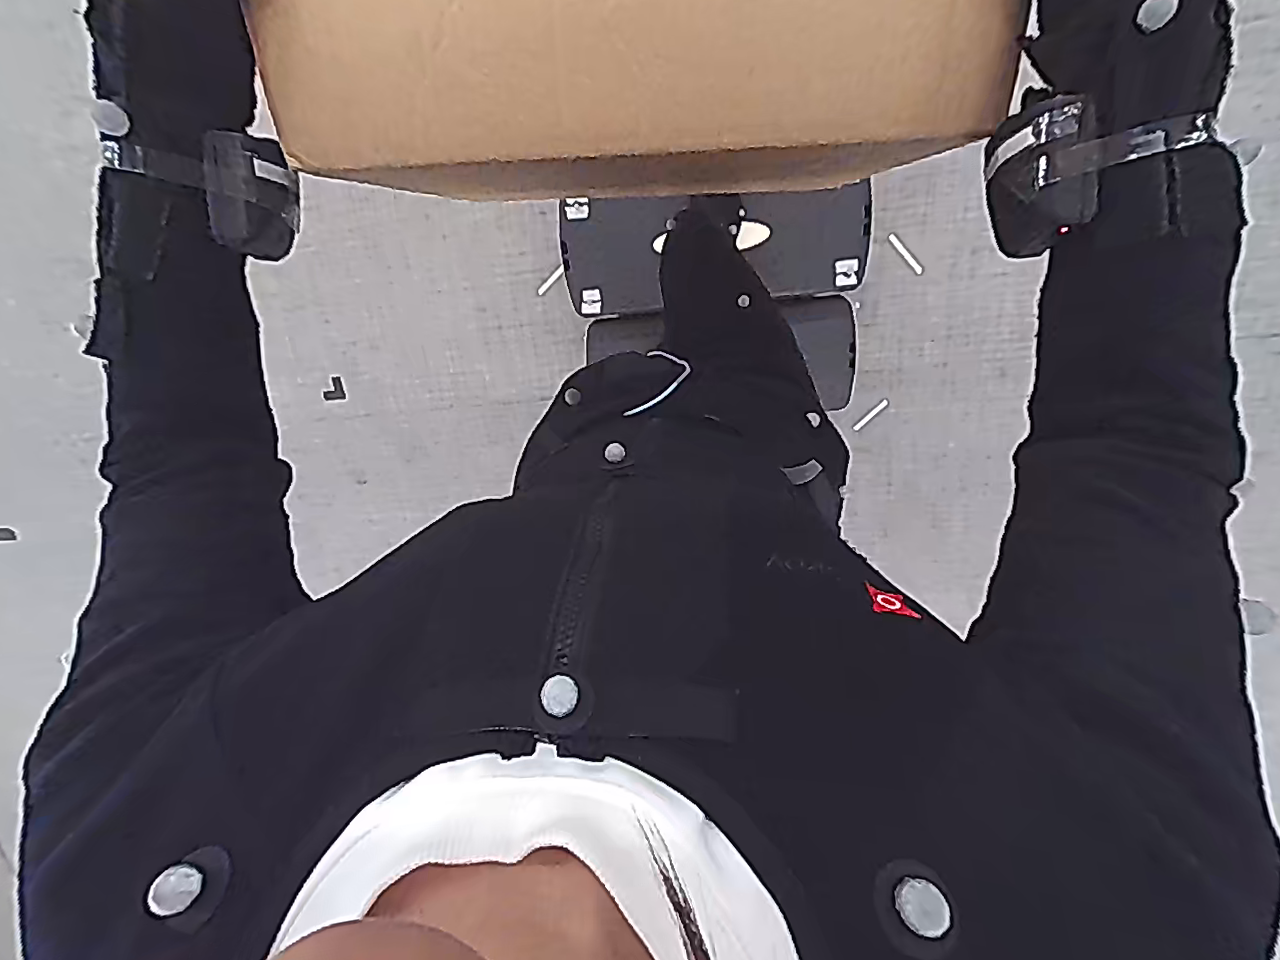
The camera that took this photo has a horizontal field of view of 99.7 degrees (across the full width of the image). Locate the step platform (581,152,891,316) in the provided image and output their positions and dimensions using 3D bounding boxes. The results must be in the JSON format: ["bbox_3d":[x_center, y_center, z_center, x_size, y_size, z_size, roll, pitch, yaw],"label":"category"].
[{"bbox_3d":[0.205,-0.559,1.248,0.684,0.204,0.286,-4,110,8],"label":"step platform"}]

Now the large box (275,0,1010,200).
[{"bbox_3d":[-0.002,-0.398,0.392,0.408,0.320,0.320,-1,115,3],"label":"large box"}]
